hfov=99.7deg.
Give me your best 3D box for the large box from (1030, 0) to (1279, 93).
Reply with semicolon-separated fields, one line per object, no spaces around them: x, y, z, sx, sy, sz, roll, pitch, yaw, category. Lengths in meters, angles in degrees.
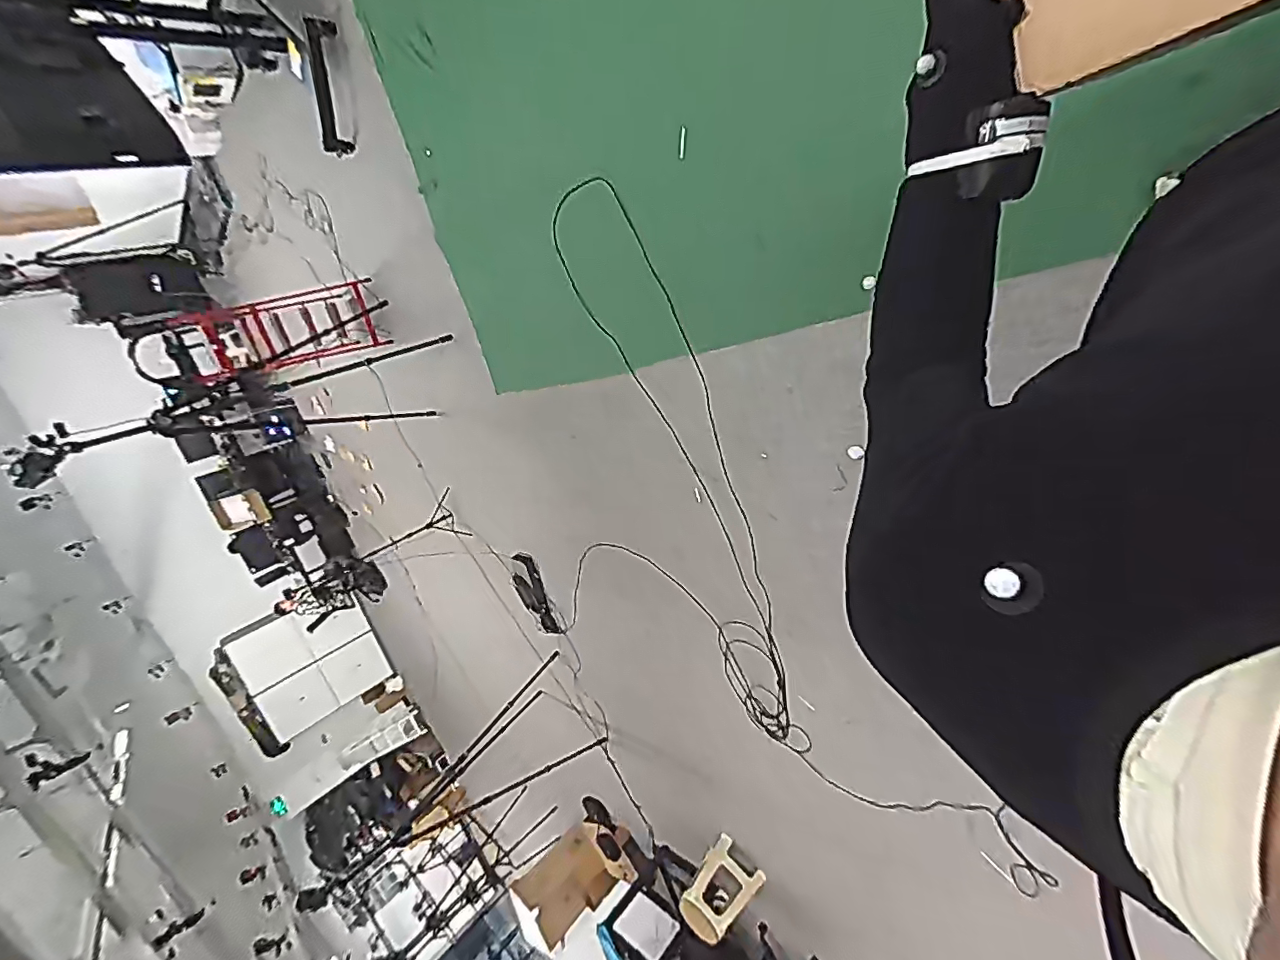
0.471;-0.485;0.290;0.408;0.320;0.320;1;119;50;large box
